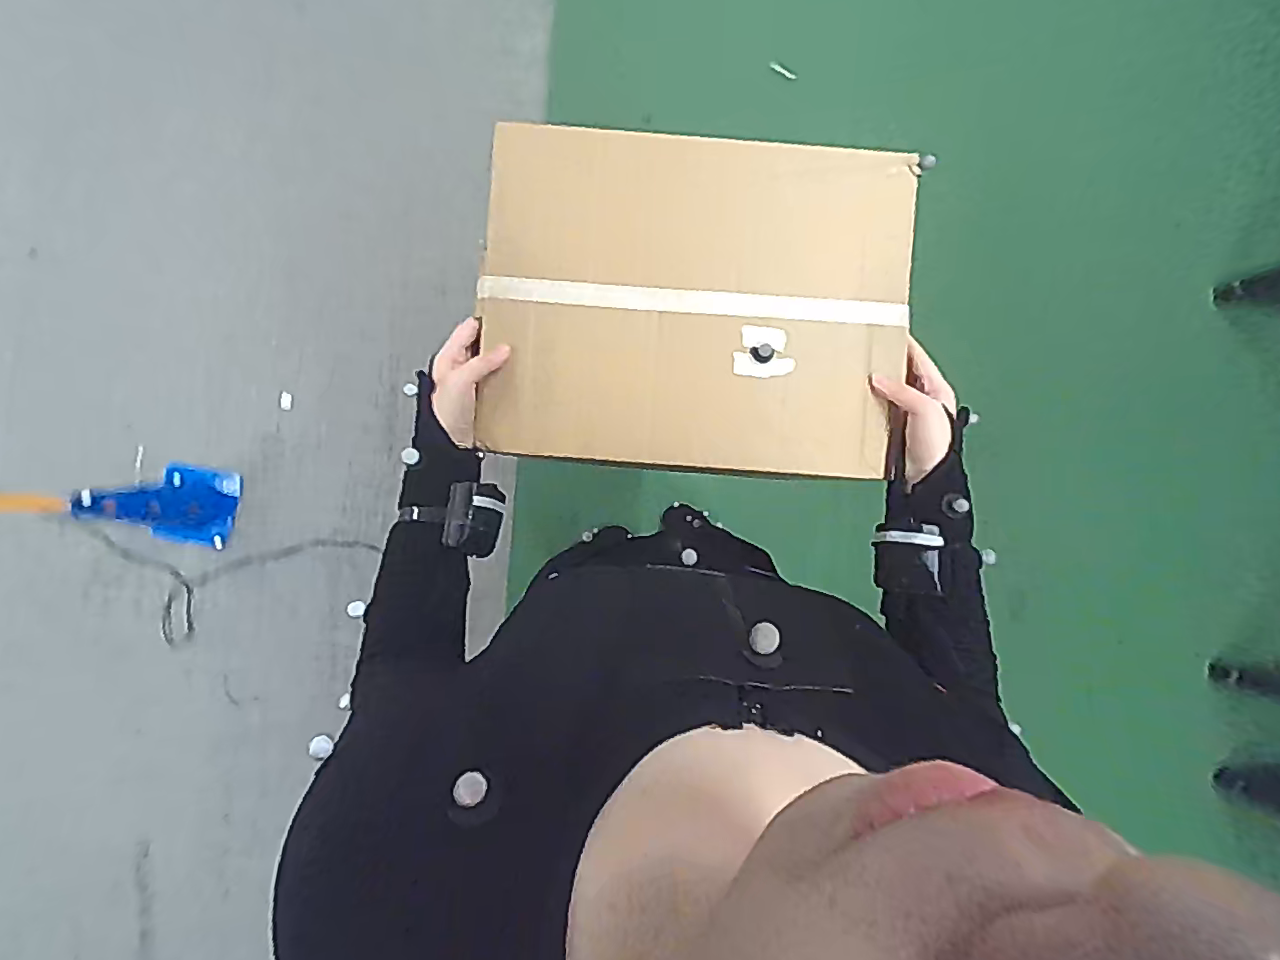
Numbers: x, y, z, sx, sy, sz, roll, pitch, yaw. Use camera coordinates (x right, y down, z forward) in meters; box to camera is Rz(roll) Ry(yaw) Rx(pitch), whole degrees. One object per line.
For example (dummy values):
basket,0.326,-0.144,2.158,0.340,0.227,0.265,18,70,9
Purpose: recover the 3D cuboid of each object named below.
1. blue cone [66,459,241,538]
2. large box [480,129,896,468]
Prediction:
blue cone,-1.159,0.040,1.267,0.192,0.380,0.193,14,86,-4
large box,0.041,-0.176,0.669,0.408,0.320,0.320,2,91,-2
